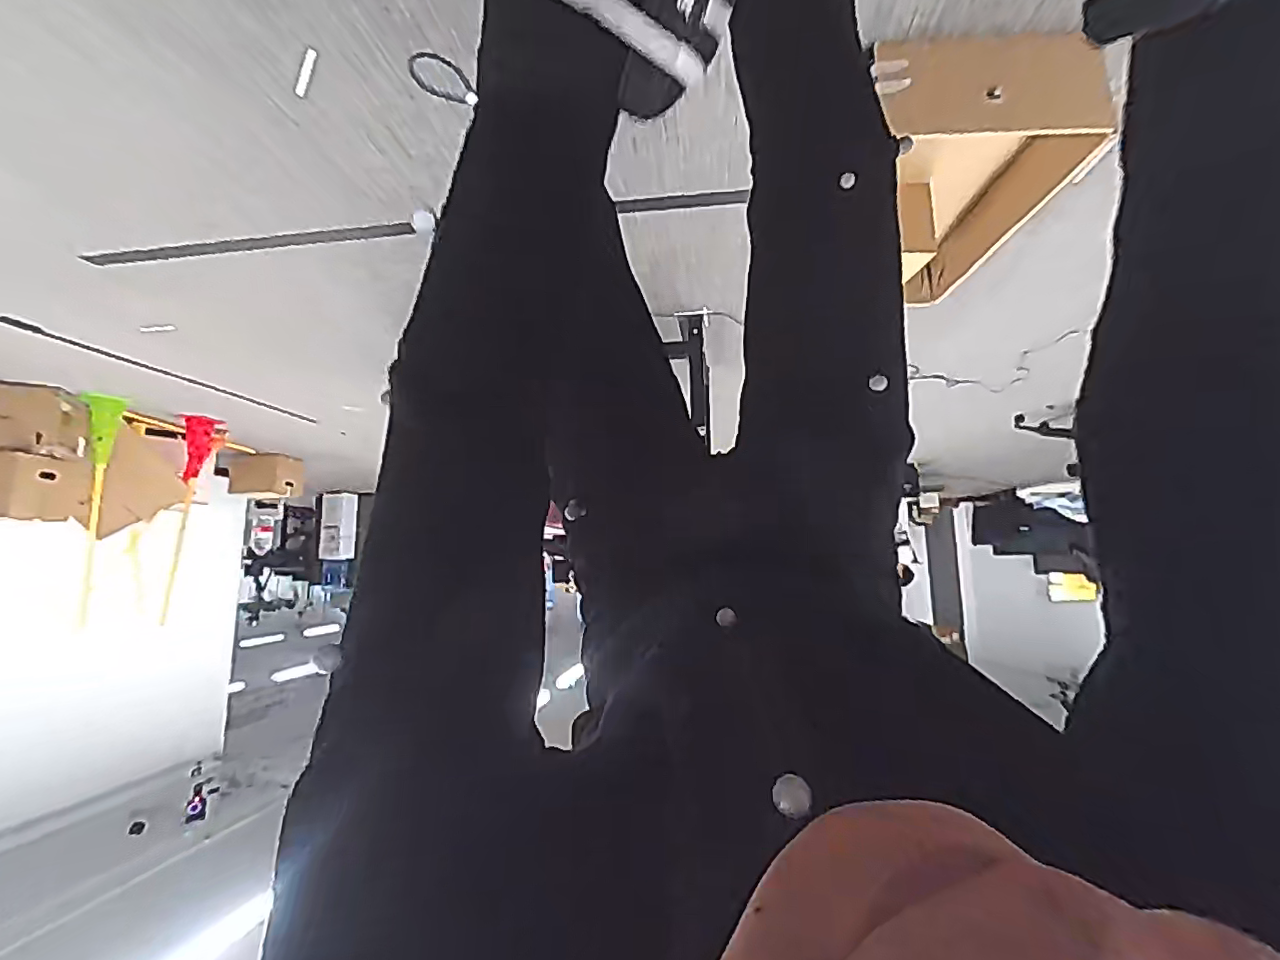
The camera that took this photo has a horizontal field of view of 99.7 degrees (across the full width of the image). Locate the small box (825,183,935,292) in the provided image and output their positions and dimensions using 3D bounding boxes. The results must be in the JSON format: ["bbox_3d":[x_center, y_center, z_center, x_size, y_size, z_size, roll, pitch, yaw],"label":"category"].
[{"bbox_3d":[0.540,-0.554,1.242,0.179,0.176,0.168,0,171,-6],"label":"small box"}]
